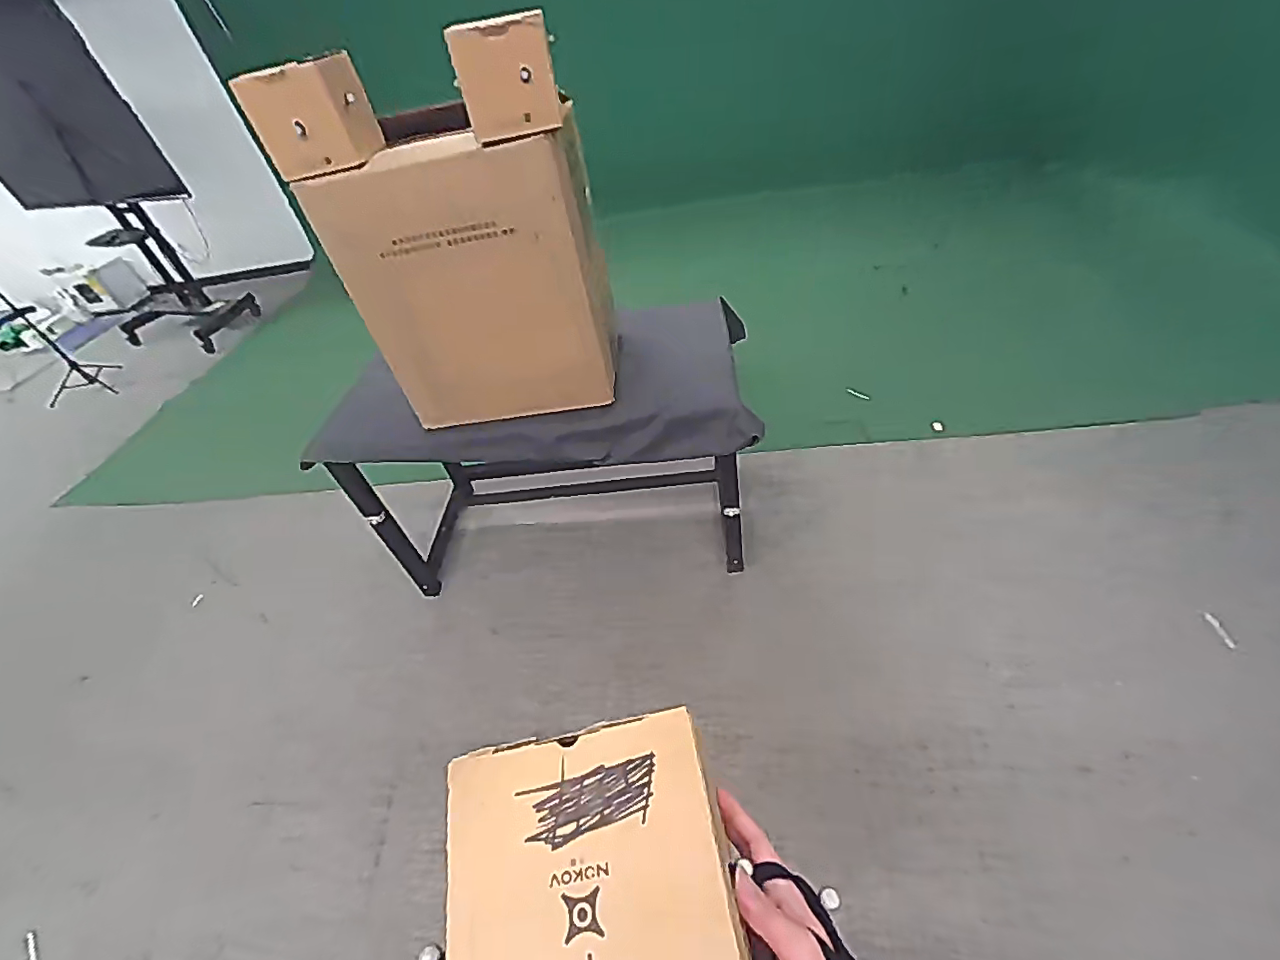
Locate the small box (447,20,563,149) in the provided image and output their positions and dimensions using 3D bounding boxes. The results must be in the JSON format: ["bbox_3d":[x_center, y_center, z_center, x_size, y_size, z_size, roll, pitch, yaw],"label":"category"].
[{"bbox_3d":[-0.245,-0.746,1.025,0.168,0.176,0.179,-10,42,0],"label":"small box"}]

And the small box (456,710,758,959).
[{"bbox_3d":[-0.015,0.280,0.378,0.168,0.176,0.179,-14,58,3],"label":"small box"}]

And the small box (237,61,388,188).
[{"bbox_3d":[-0.636,-0.704,1.080,0.168,0.176,0.179,-10,43,5],"label":"small box"}]
